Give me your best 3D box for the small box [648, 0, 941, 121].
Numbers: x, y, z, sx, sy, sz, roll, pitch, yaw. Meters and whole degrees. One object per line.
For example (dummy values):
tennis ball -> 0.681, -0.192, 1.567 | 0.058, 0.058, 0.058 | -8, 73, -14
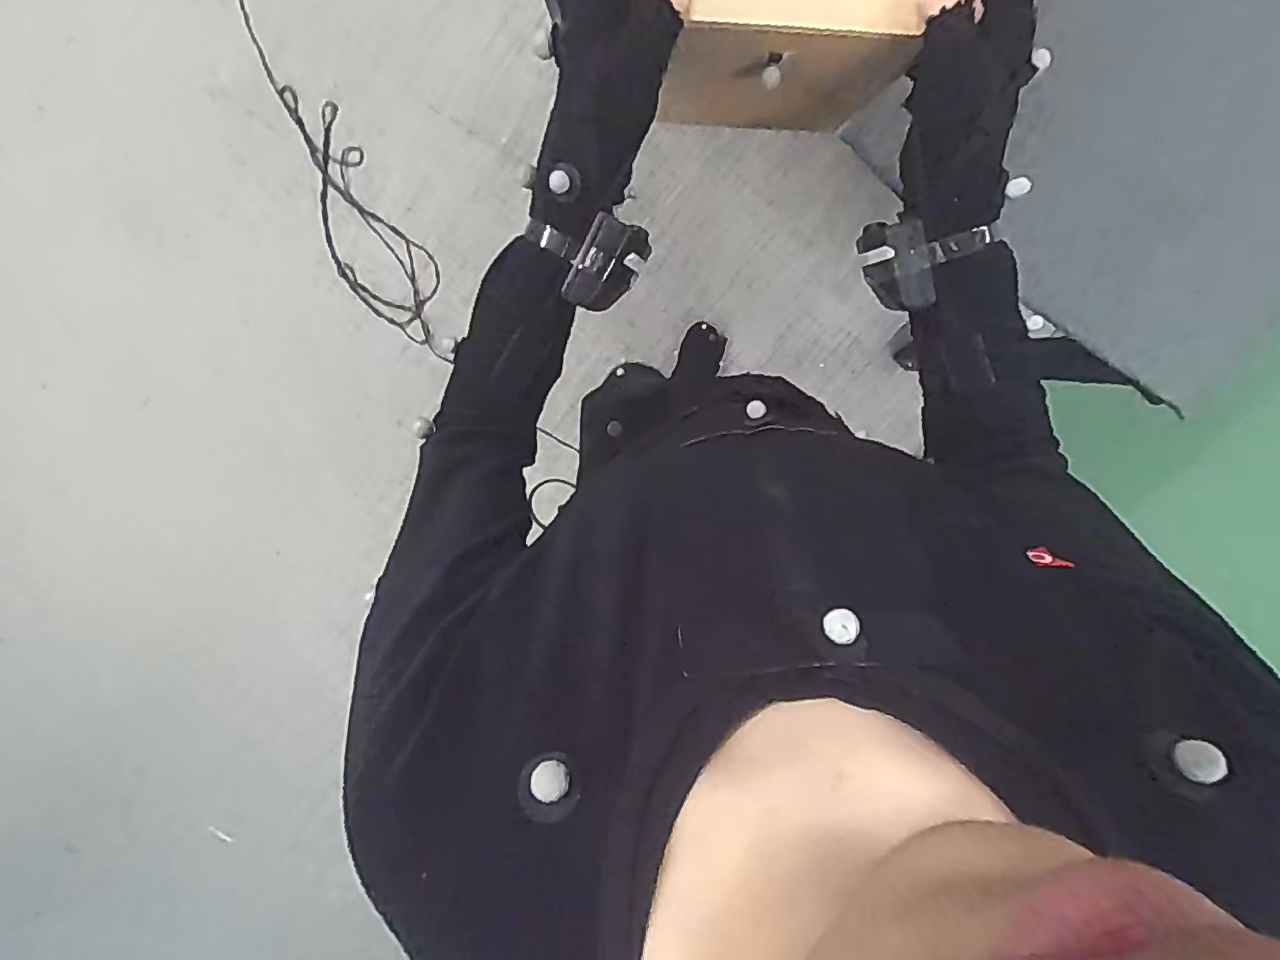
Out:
small box -> 0.099, -0.376, 0.381 | 0.179, 0.176, 0.168 | 4, 106, 0
